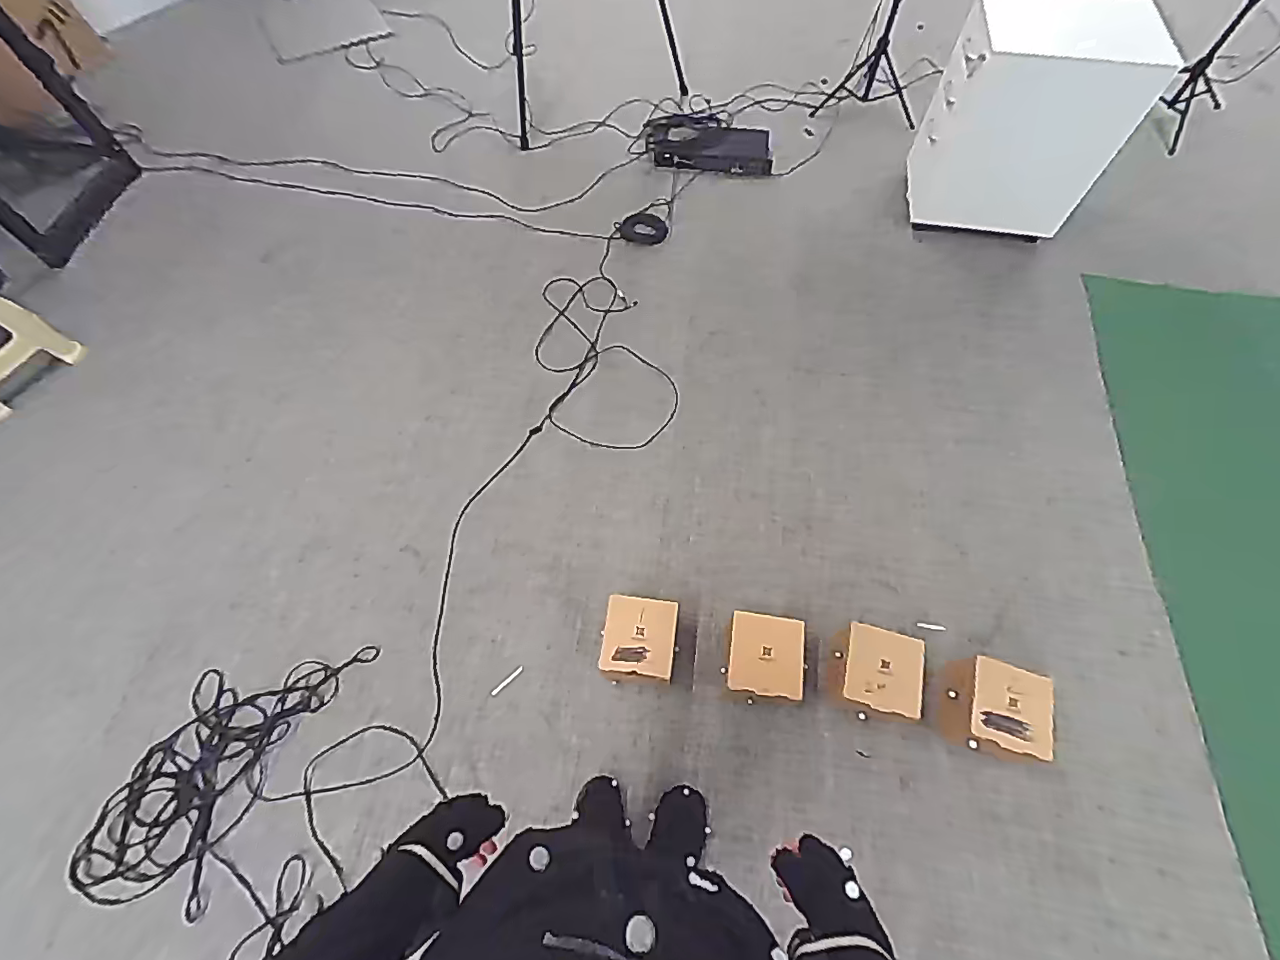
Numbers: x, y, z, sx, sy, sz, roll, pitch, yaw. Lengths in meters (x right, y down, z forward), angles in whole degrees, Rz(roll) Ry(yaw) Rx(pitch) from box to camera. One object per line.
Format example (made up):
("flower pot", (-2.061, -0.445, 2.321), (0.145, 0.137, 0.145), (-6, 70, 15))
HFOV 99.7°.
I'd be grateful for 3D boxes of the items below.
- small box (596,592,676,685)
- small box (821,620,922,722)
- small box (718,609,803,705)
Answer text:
("small box", (-0.005, 0.389, 1.310), (0.168, 0.176, 0.179), (7, 62, 4))
("small box", (0.537, 0.453, 1.269), (0.168, 0.176, 0.179), (15, 65, 9))
("small box", (0.282, 0.426, 1.288), (0.168, 0.176, 0.179), (8, 64, 5))
